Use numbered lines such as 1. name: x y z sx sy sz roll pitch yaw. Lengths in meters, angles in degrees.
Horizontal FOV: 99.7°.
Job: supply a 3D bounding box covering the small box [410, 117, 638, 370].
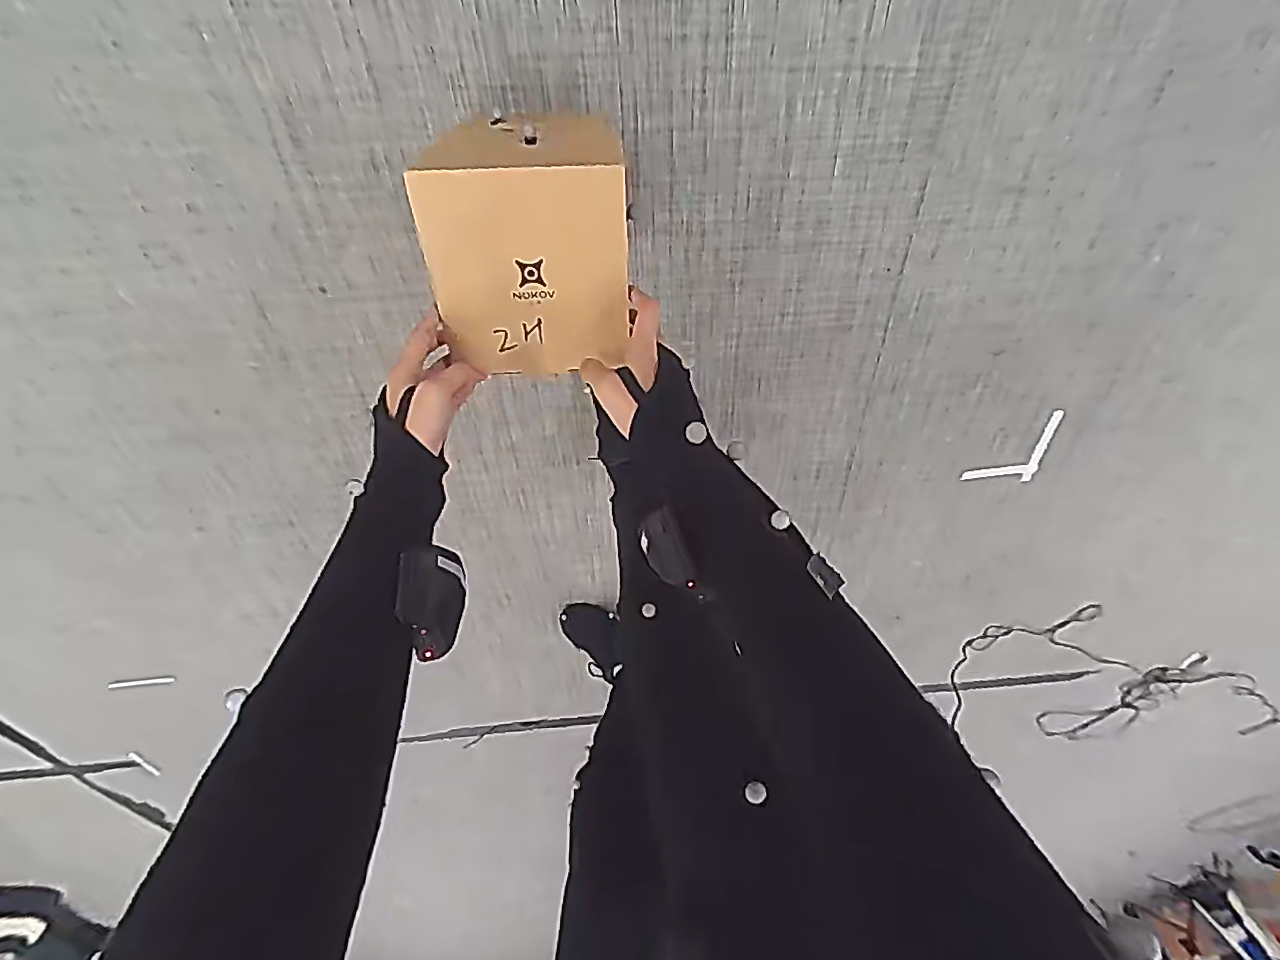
1. small box: -0.090 -0.223 0.500 0.168 0.176 0.179 -3 133 -3
